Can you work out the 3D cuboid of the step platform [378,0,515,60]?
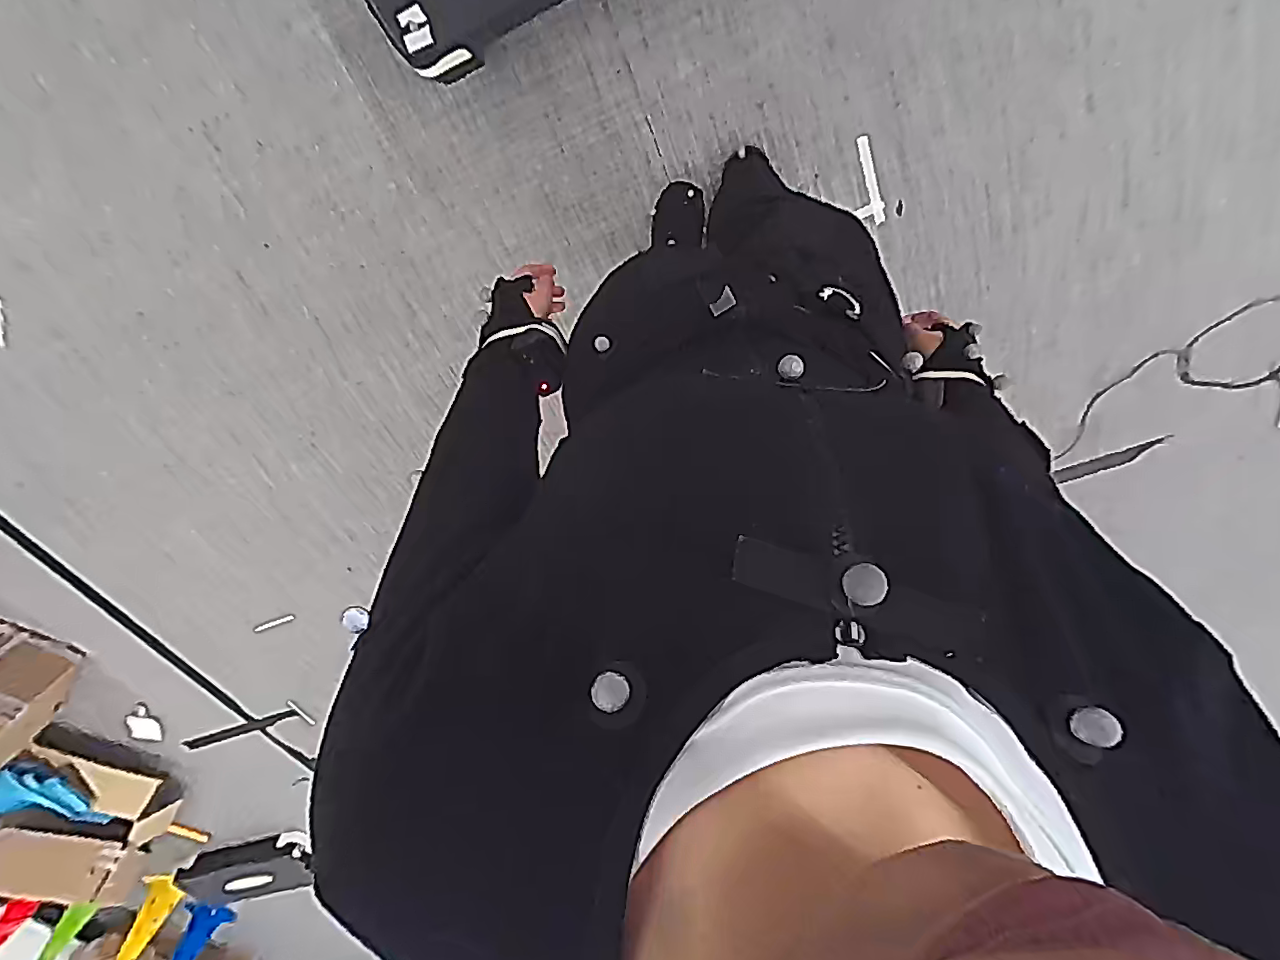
[{"bbox_3d":[-0.129,-0.944,0.807,0.684,0.204,0.286,-20,118,11],"label":"step platform"}]
